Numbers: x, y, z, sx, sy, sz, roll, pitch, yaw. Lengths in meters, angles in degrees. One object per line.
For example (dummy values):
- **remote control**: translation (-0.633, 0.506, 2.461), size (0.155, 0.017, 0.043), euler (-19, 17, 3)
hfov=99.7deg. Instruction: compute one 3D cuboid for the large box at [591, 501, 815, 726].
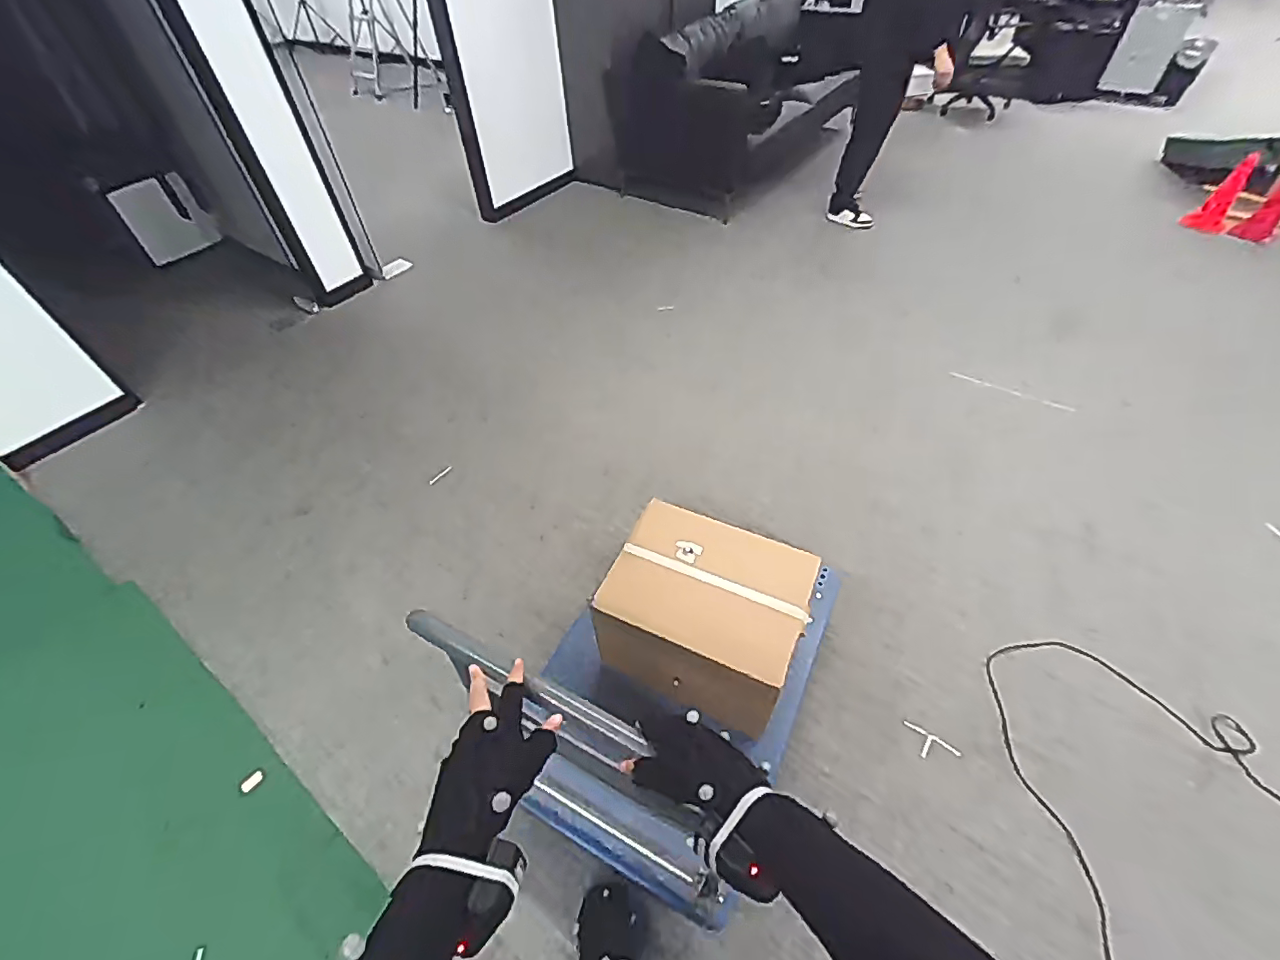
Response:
- **large box**: translation (0.150, 0.306, 1.257), size (0.408, 0.320, 0.320), euler (18, 52, 19)
